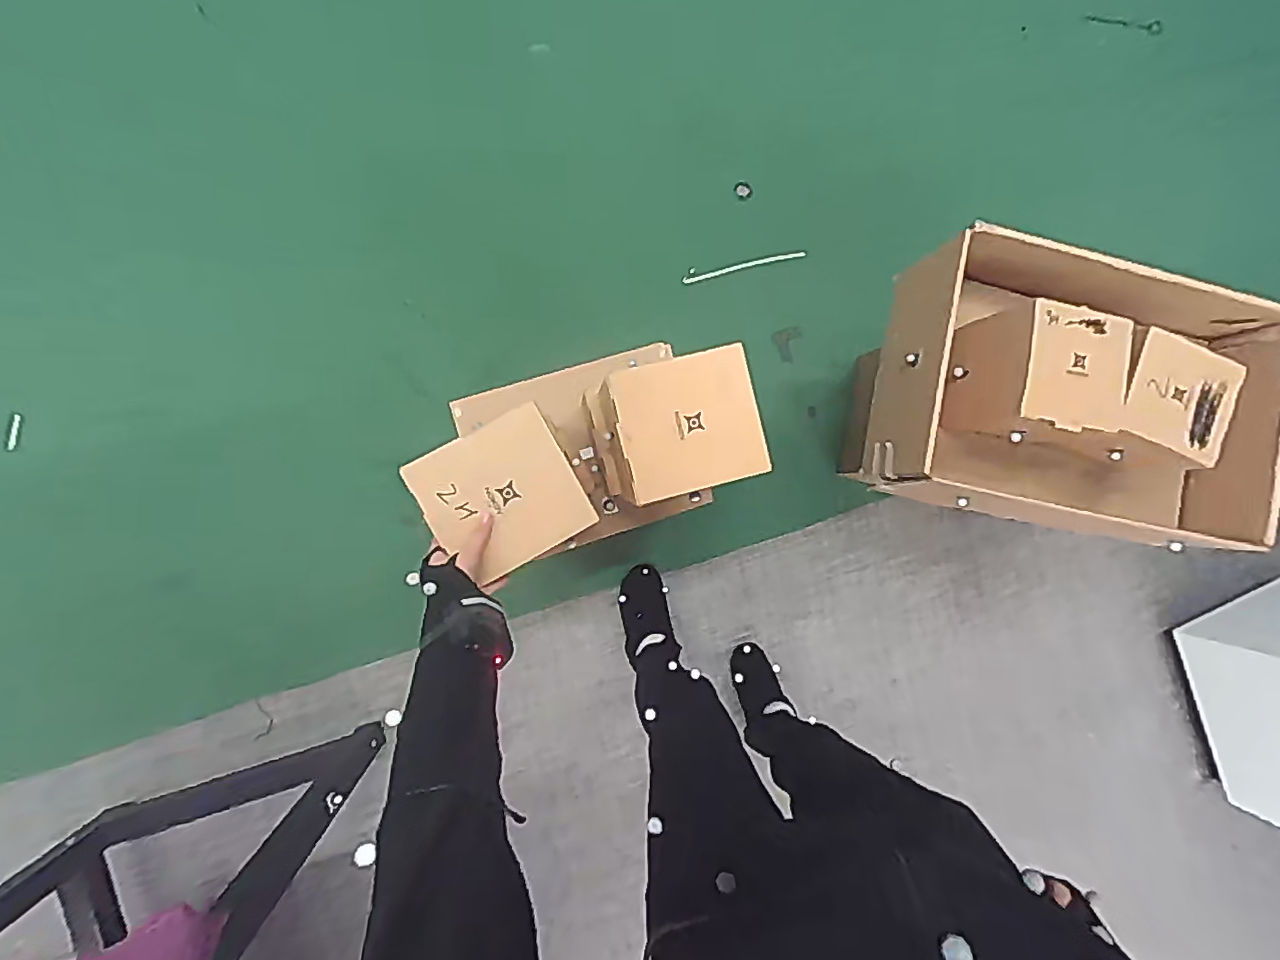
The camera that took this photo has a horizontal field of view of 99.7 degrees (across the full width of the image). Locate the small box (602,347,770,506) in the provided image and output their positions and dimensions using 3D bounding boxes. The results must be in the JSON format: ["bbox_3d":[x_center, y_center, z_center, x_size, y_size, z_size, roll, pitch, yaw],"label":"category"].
[{"bbox_3d":[0.052,-0.069,0.740,0.179,0.176,0.168,-15,93,-6],"label":"small box"}]
